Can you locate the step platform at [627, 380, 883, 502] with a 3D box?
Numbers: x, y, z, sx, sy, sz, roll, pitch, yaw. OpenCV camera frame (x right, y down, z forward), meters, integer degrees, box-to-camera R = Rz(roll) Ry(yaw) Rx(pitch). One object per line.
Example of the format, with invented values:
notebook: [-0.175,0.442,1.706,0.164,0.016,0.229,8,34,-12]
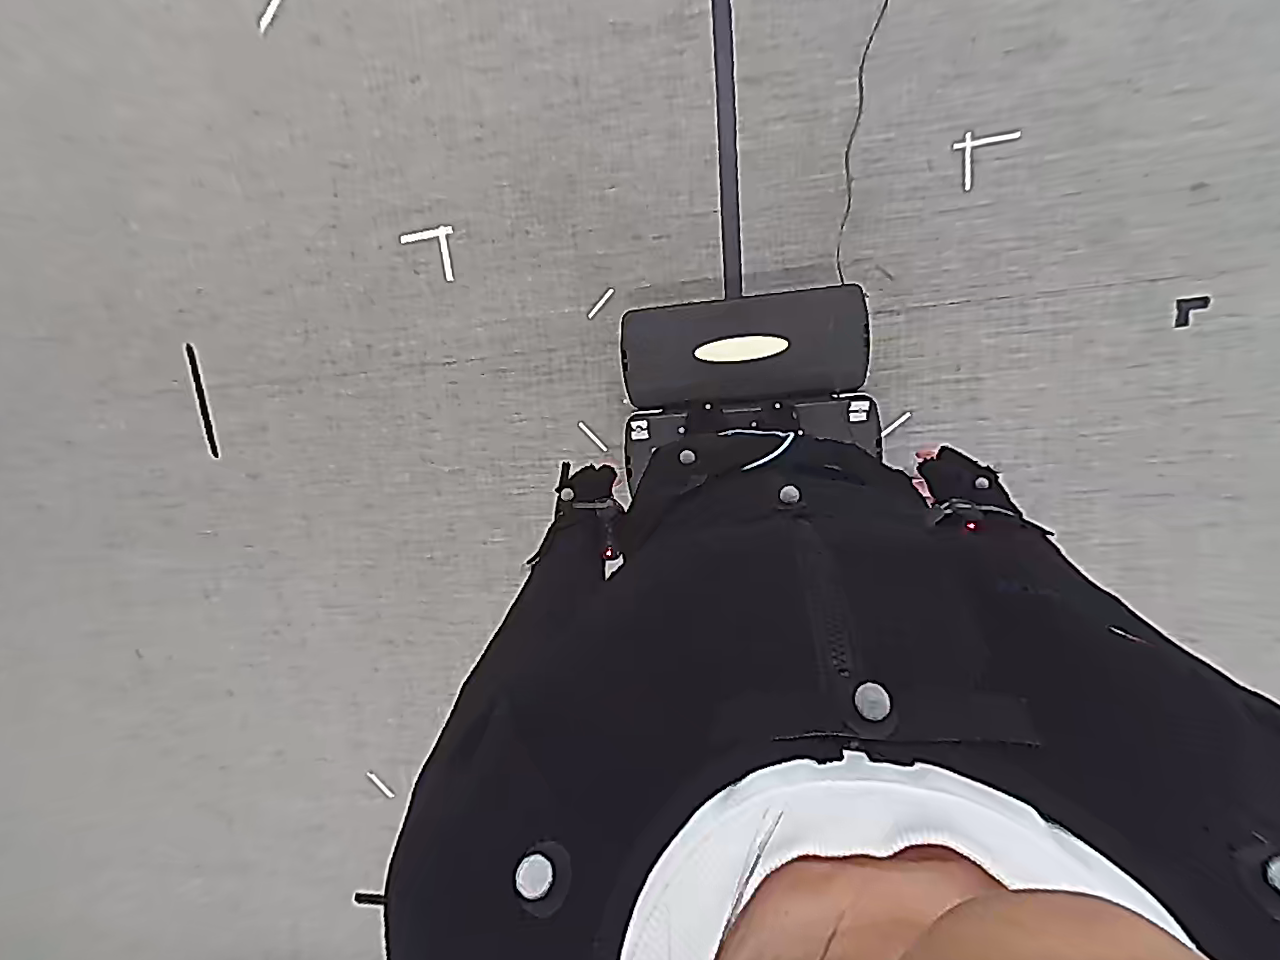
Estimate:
step platform: [0.306,-0.104,1.508,0.684,0.204,0.286,-4,99,11]
